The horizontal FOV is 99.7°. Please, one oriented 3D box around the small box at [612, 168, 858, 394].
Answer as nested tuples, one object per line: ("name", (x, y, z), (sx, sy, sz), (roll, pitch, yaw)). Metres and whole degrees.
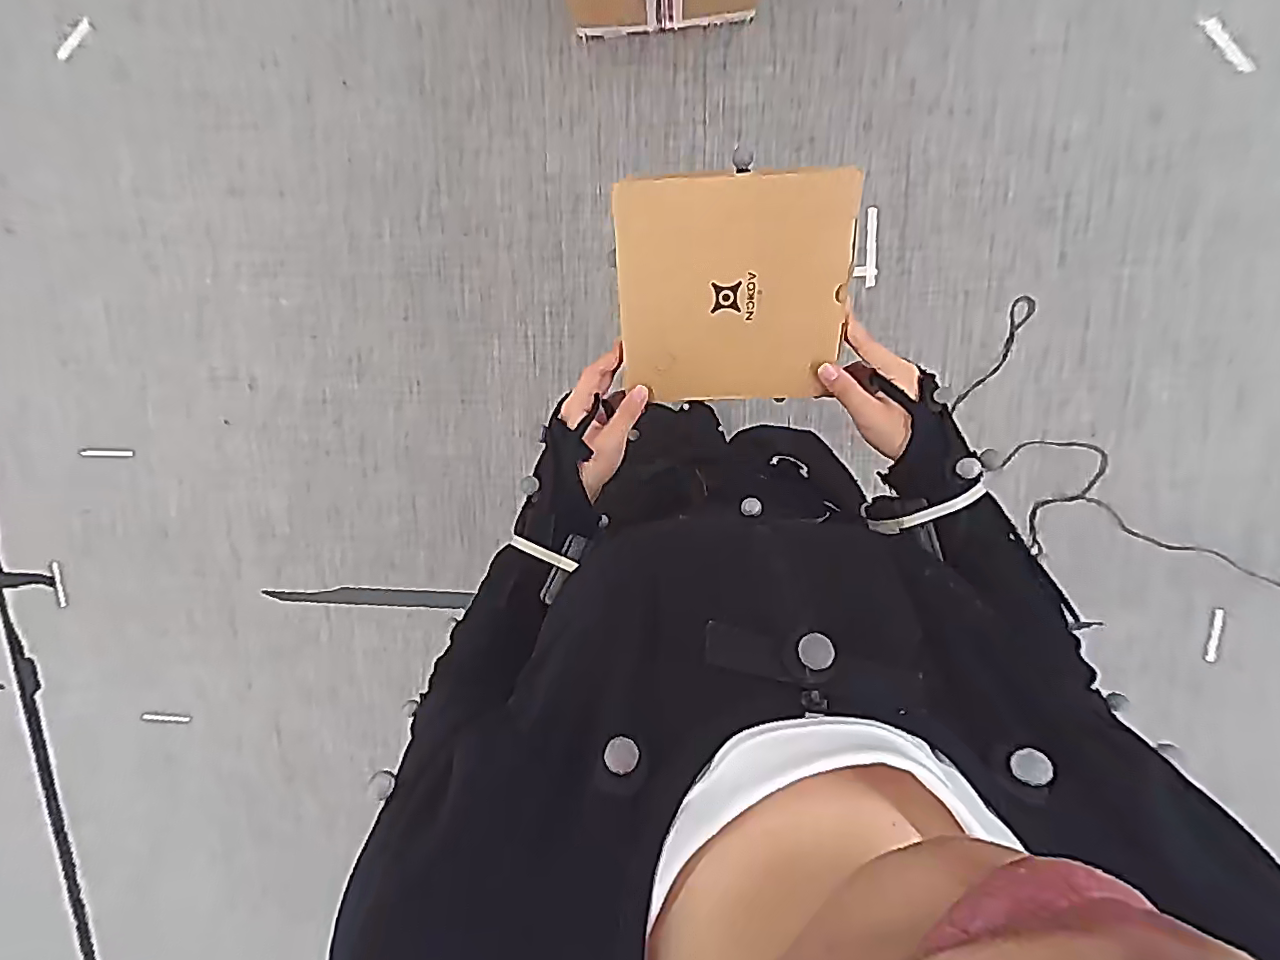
("small box", (0.075, -0.185, 0.492), (0.179, 0.176, 0.168), (-1, 120, 4))
